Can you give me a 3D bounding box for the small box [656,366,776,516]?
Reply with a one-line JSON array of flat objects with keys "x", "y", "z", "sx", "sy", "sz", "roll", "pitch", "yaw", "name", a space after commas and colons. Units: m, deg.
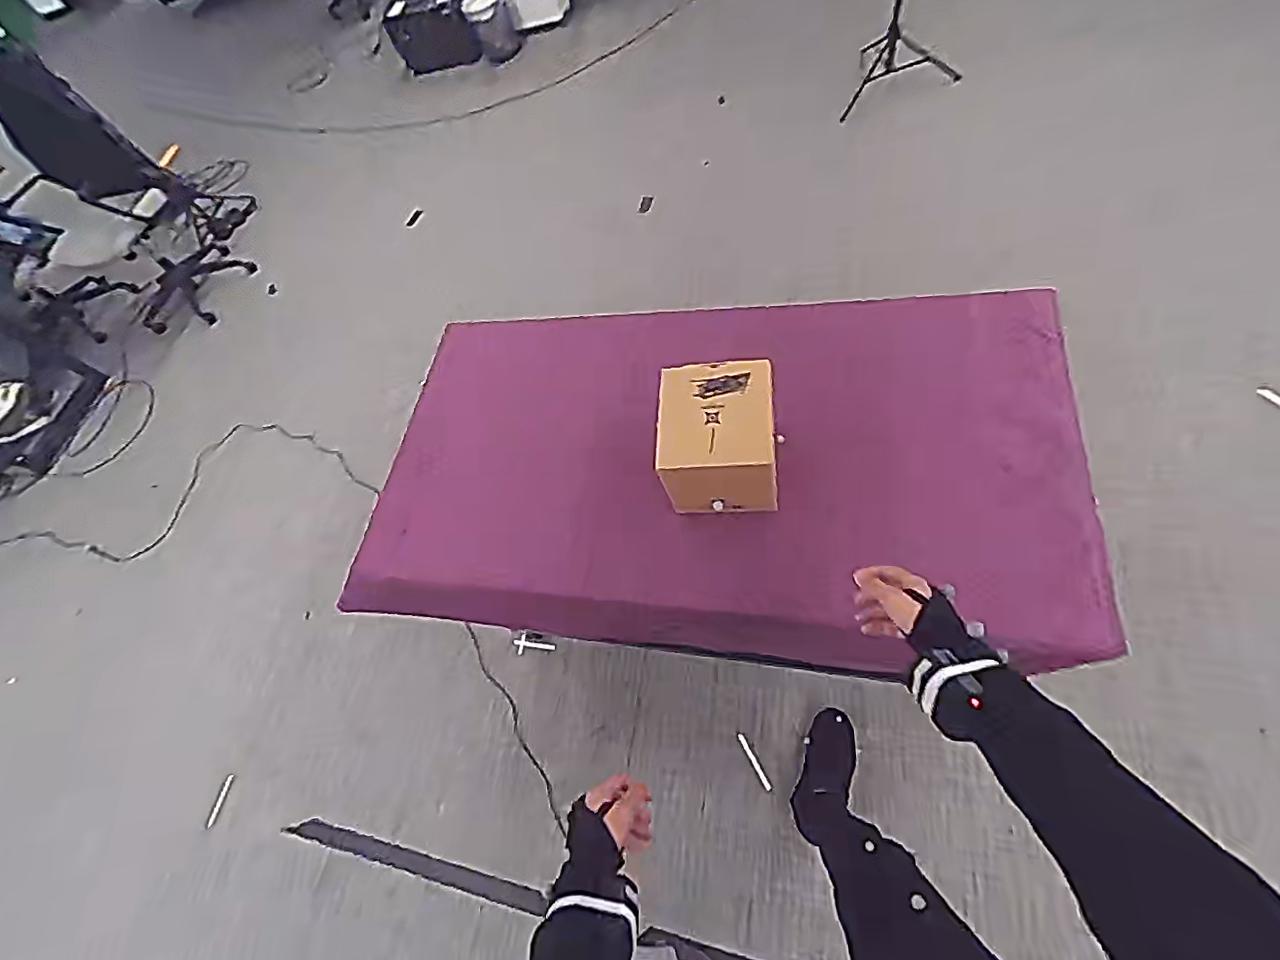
[{"x": 0.128, "y": -0.055, "z": 0.858, "sx": 0.168, "sy": 0.176, "sz": 0.179, "roll": -3, "pitch": 64, "yaw": 15, "name": "small box"}]
